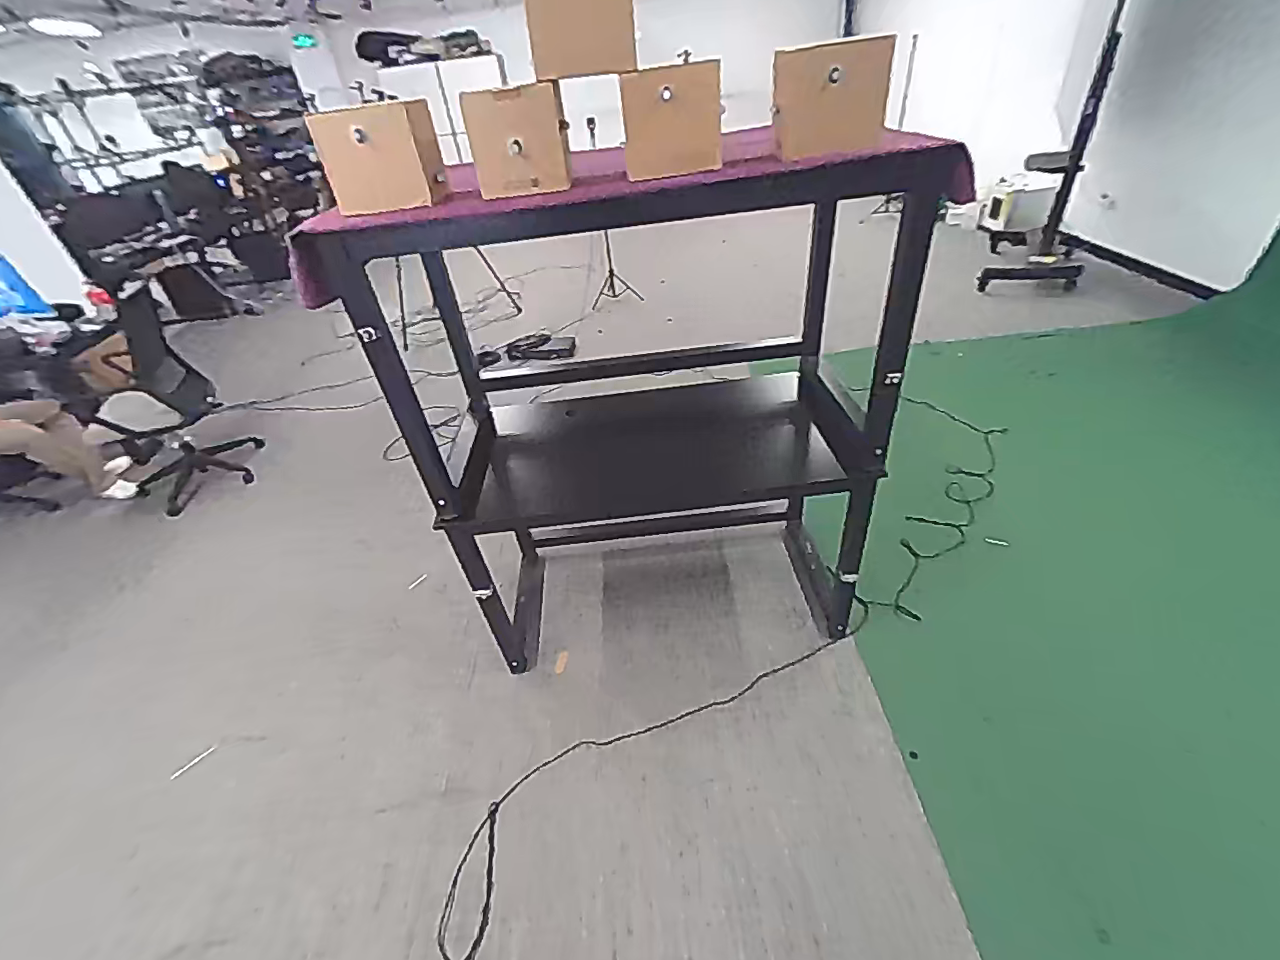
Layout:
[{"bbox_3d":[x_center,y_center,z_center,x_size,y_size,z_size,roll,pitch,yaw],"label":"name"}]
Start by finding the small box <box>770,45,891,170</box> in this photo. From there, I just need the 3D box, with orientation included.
[{"bbox_3d":[0.344,-0.695,1.015,0.179,0.176,0.168,-4,38,5],"label":"small box"}]

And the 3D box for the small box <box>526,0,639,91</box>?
[{"bbox_3d":[-0.099,-0.784,0.939,0.179,0.176,0.168,-6,36,-1],"label":"small box"}]

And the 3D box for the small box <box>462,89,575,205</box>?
[{"bbox_3d":[-0.221,-0.636,1.036,0.168,0.176,0.179,-6,37,1],"label":"small box"}]

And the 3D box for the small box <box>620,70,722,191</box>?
[{"bbox_3d":[0.059,-0.666,1.030,0.179,0.176,0.168,-7,36,3],"label":"small box"}]
